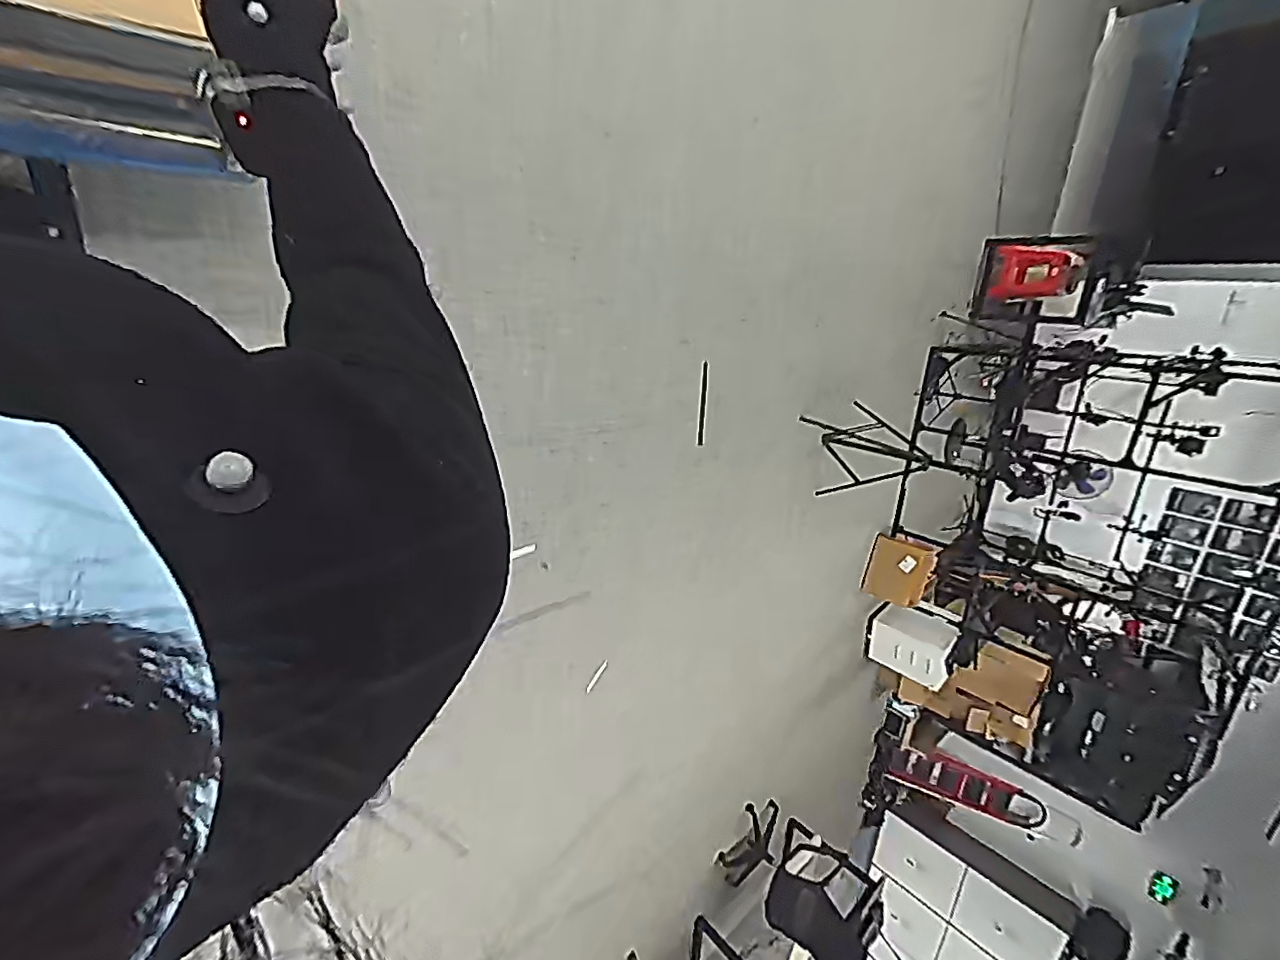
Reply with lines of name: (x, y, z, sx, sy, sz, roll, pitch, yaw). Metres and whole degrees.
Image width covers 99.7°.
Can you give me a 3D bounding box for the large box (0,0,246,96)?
large box: (-0.792, -0.719, 0.662, 0.408, 0.320, 0.320, -20, 119, -41)
